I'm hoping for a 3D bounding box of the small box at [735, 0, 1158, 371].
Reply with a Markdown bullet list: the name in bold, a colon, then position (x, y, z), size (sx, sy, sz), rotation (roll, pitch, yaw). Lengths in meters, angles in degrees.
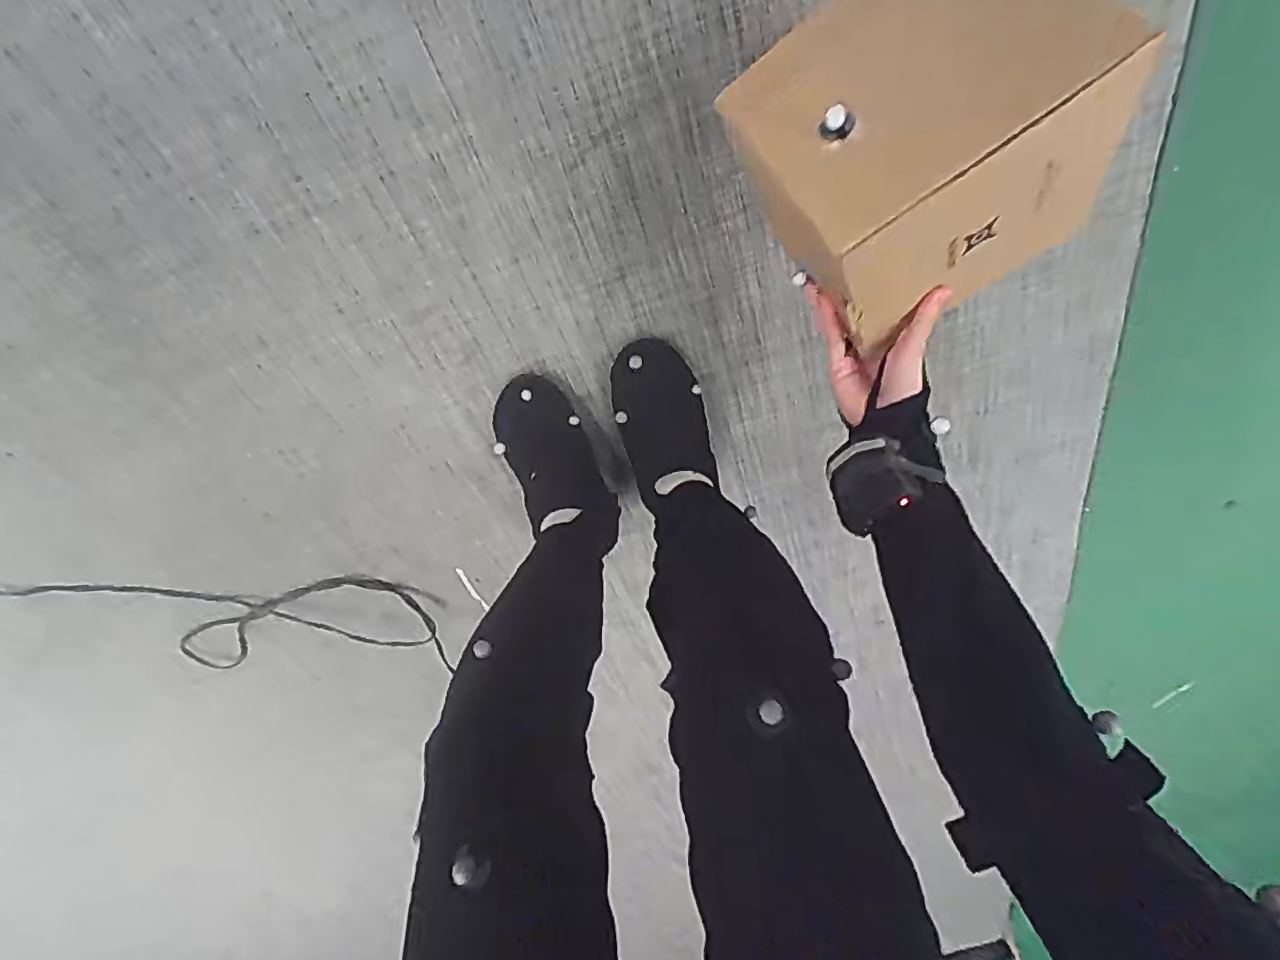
- **small box**: position (0.187, -0.217, 0.388), size (0.179, 0.176, 0.168), rotation (-33, 157, 18)
